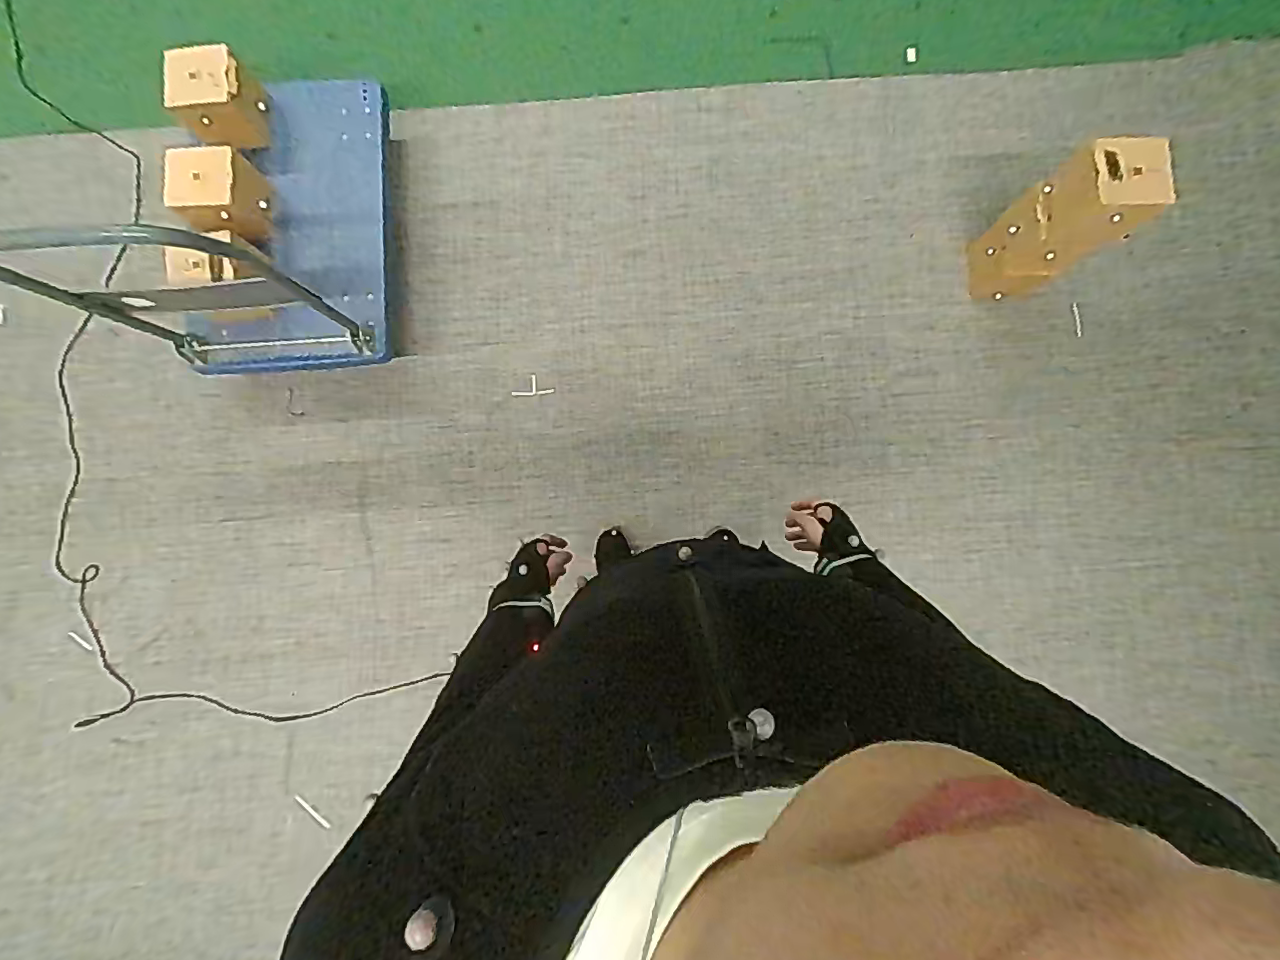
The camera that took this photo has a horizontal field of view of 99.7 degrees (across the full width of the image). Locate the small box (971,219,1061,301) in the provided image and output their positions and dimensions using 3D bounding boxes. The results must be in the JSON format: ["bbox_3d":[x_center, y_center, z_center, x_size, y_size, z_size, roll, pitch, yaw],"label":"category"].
[{"bbox_3d":[1.139,-0.668,1.650,0.168,0.176,0.179,2,84,1],"label":"small box"}]

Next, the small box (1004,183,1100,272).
[{"bbox_3d":[1.134,-0.689,1.488,0.179,0.176,0.168,1,84,2],"label":"small box"}]

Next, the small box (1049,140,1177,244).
[{"bbox_3d":[1.140,-0.697,1.323,0.179,0.176,0.168,0,84,0],"label":"small box"}]

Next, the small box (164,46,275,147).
[{"bbox_3d":[-1.169,-1.063,1.511,0.179,0.176,0.168,2,88,-1],"label":"small box"}]

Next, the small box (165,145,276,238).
[{"bbox_3d":[-1.150,-0.788,1.491,0.179,0.176,0.168,-3,84,-1],"label":"small box"}]
